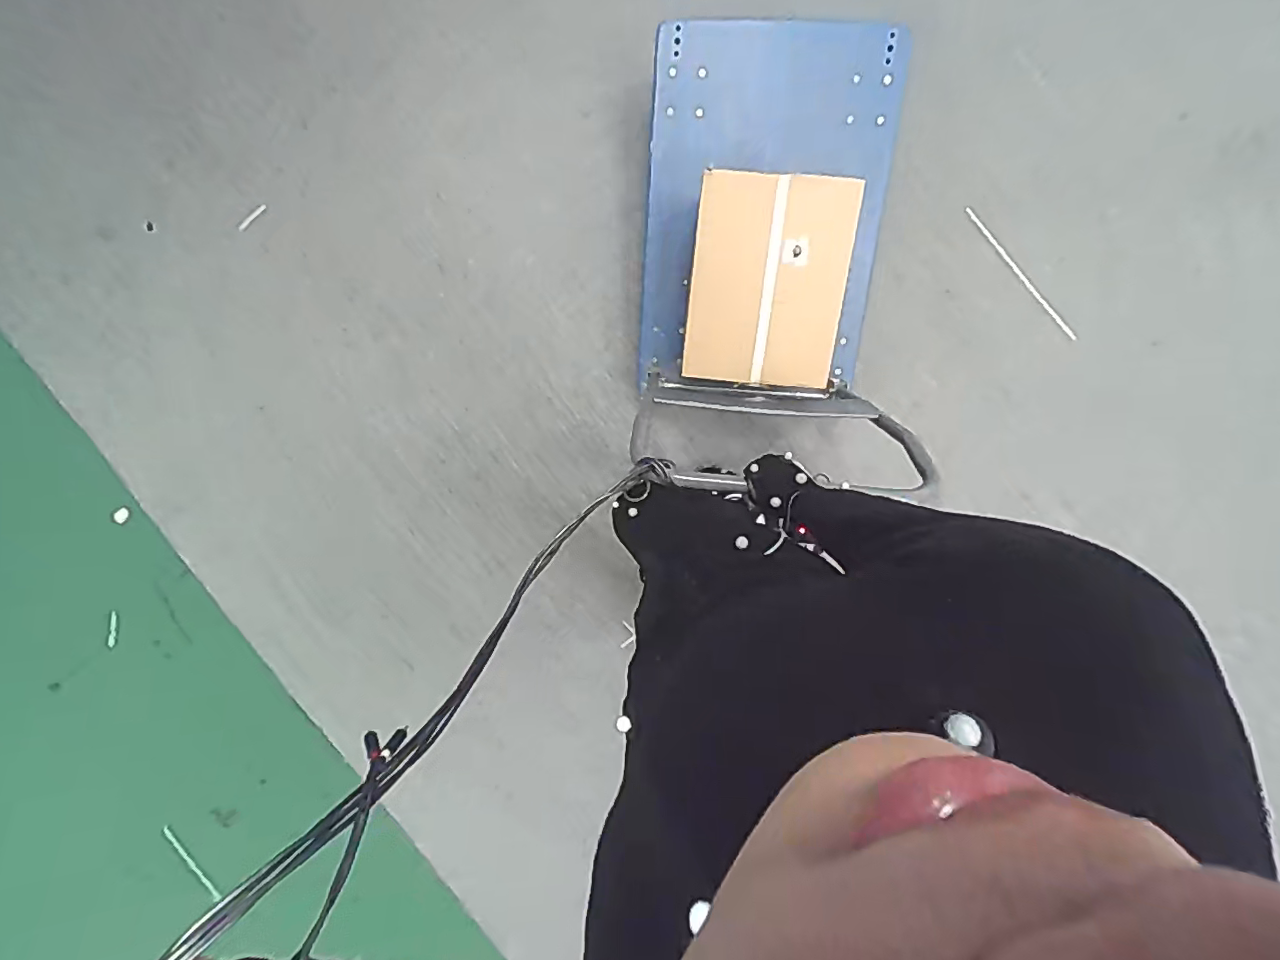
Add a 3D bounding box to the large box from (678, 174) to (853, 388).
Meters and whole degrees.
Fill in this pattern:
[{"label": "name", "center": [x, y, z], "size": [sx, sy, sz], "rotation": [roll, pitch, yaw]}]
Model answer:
[{"label": "large box", "center": [0.262, -0.439, 1.256], "size": [0.320, 0.320, 0.408], "rotation": [6, 106, 2]}]
